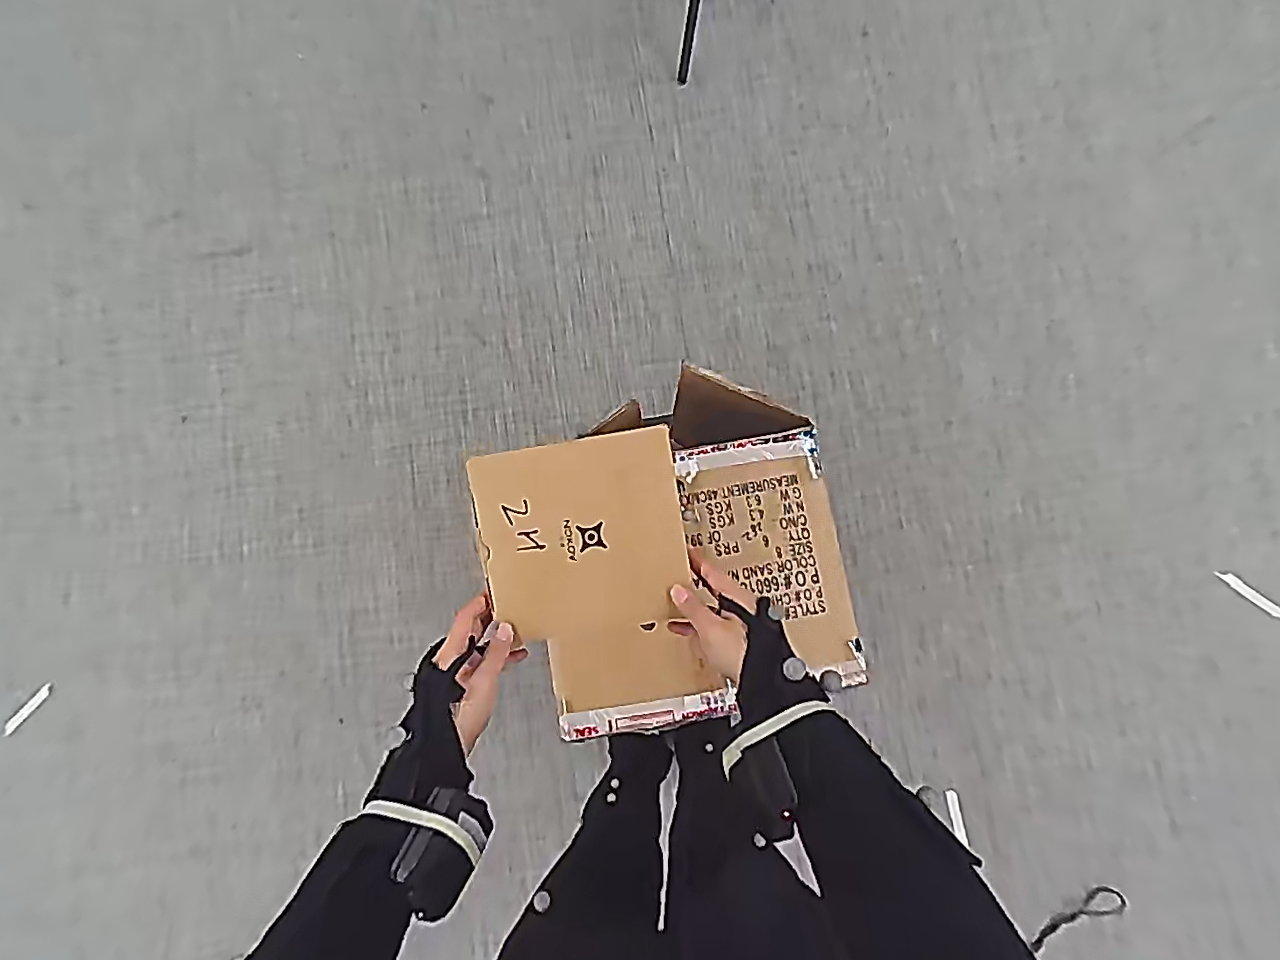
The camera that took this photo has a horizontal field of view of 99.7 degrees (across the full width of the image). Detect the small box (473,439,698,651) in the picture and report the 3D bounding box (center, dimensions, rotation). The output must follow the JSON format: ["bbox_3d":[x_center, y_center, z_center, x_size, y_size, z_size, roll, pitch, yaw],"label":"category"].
[{"bbox_3d":[-0.047,0.054,0.545,0.179,0.176,0.168,-10,91,1],"label":"small box"}]
